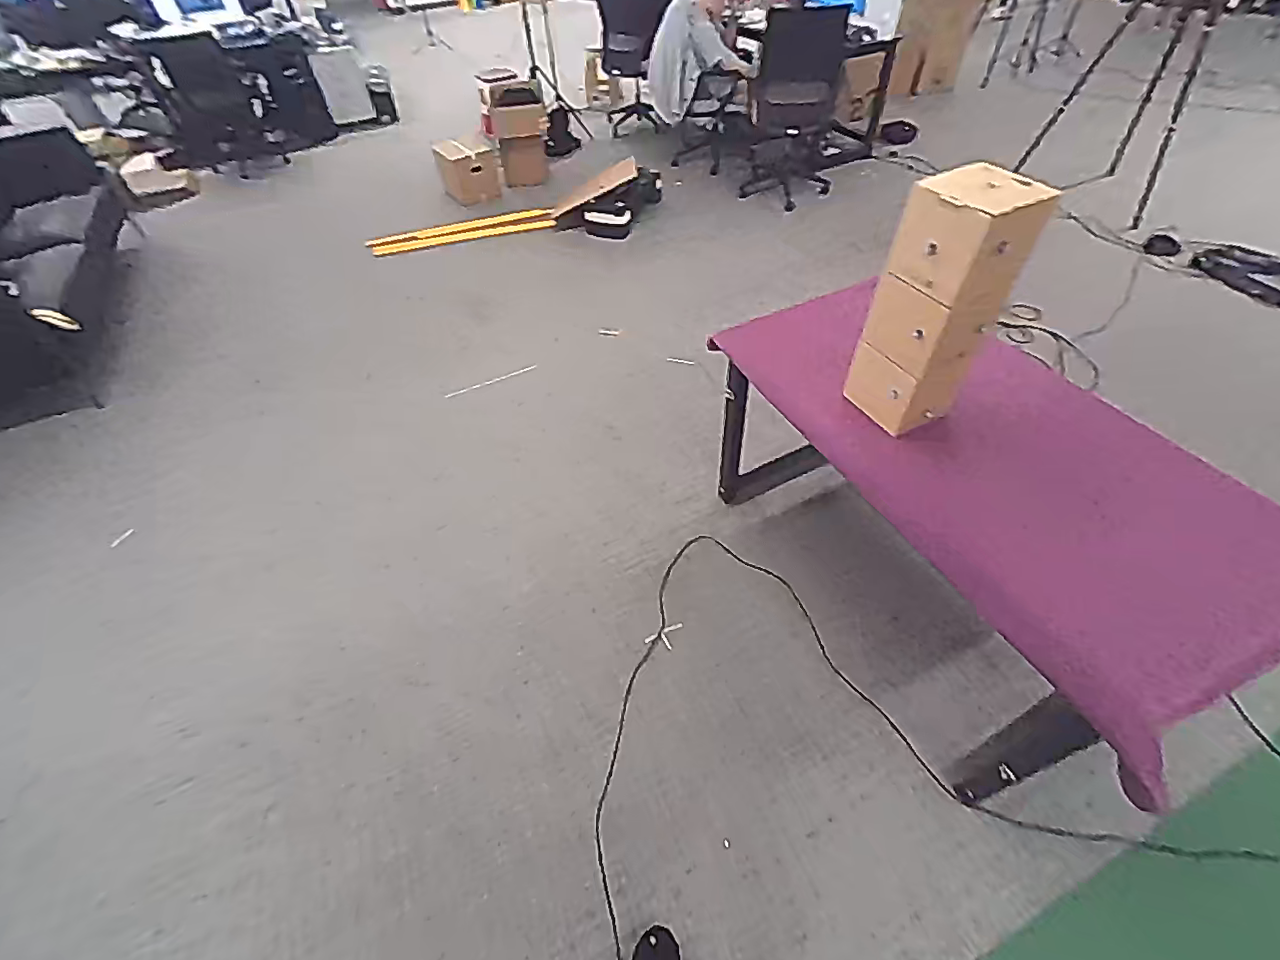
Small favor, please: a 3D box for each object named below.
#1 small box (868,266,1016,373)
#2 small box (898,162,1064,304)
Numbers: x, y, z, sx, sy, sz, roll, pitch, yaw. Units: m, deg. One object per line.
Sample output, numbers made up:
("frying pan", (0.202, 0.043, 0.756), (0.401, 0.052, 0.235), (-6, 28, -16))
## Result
("small box", (0.606, -0.340, 1.111), (0.168, 0.176, 0.179), (-22, 51, -15))
("small box", (0.604, -0.448, 0.989), (0.179, 0.176, 0.168), (-23, 53, -15))
